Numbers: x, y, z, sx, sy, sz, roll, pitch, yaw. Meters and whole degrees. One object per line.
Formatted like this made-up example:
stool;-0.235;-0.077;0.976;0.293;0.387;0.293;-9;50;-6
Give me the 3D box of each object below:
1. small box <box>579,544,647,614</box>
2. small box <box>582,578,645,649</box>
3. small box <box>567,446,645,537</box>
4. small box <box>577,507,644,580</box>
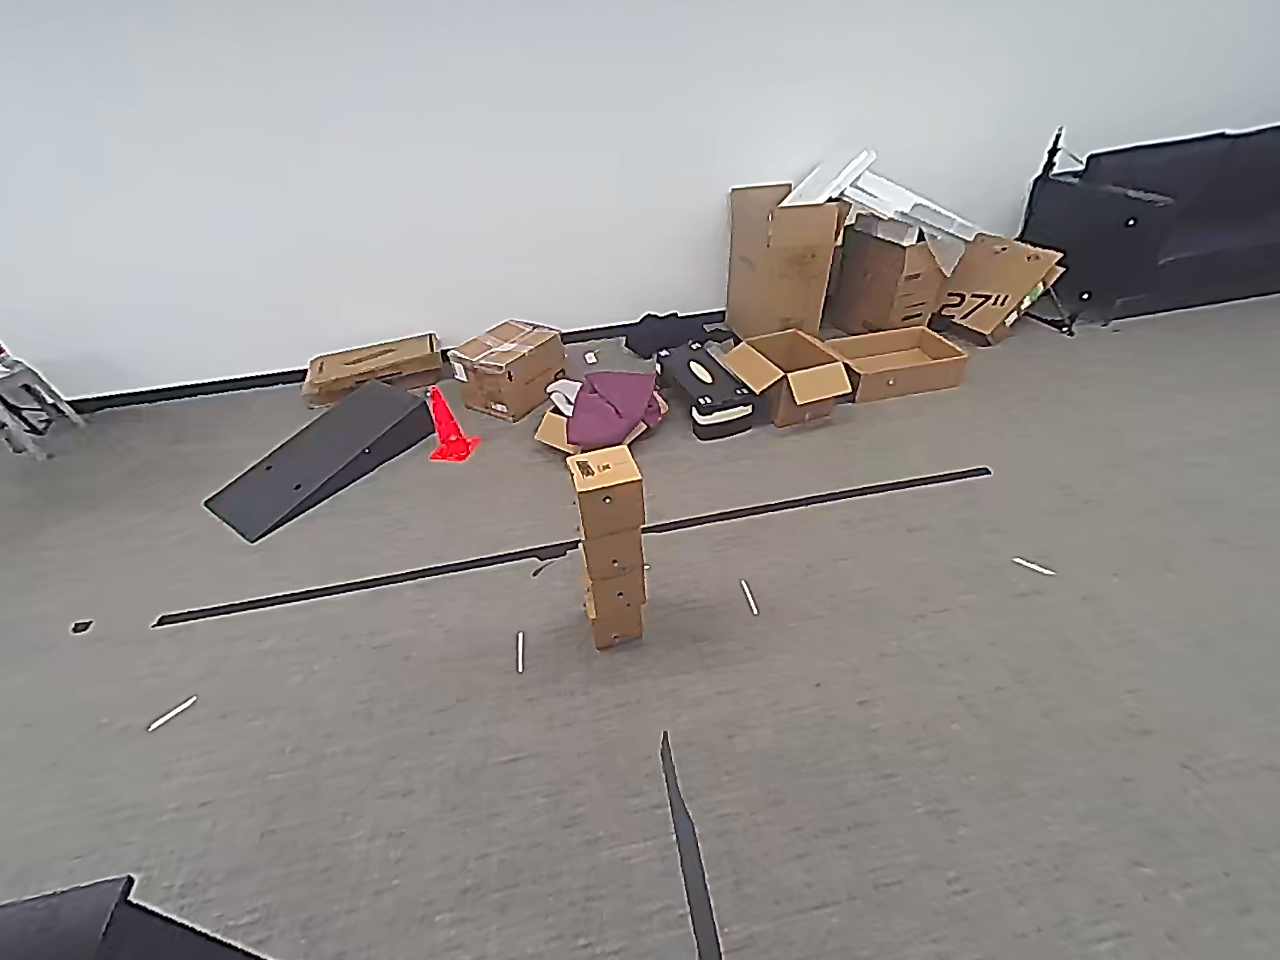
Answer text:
small box;-0.082;0.297;1.695;0.168;0.176;0.179;-15;40;-11
small box;-0.088;0.426;1.796;0.168;0.176;0.179;-14;41;-10
small box;-0.091;0.034;1.494;0.179;0.176;0.168;-13;39;-10
small box;-0.087;0.164;1.595;0.168;0.176;0.179;-12;39;-7
